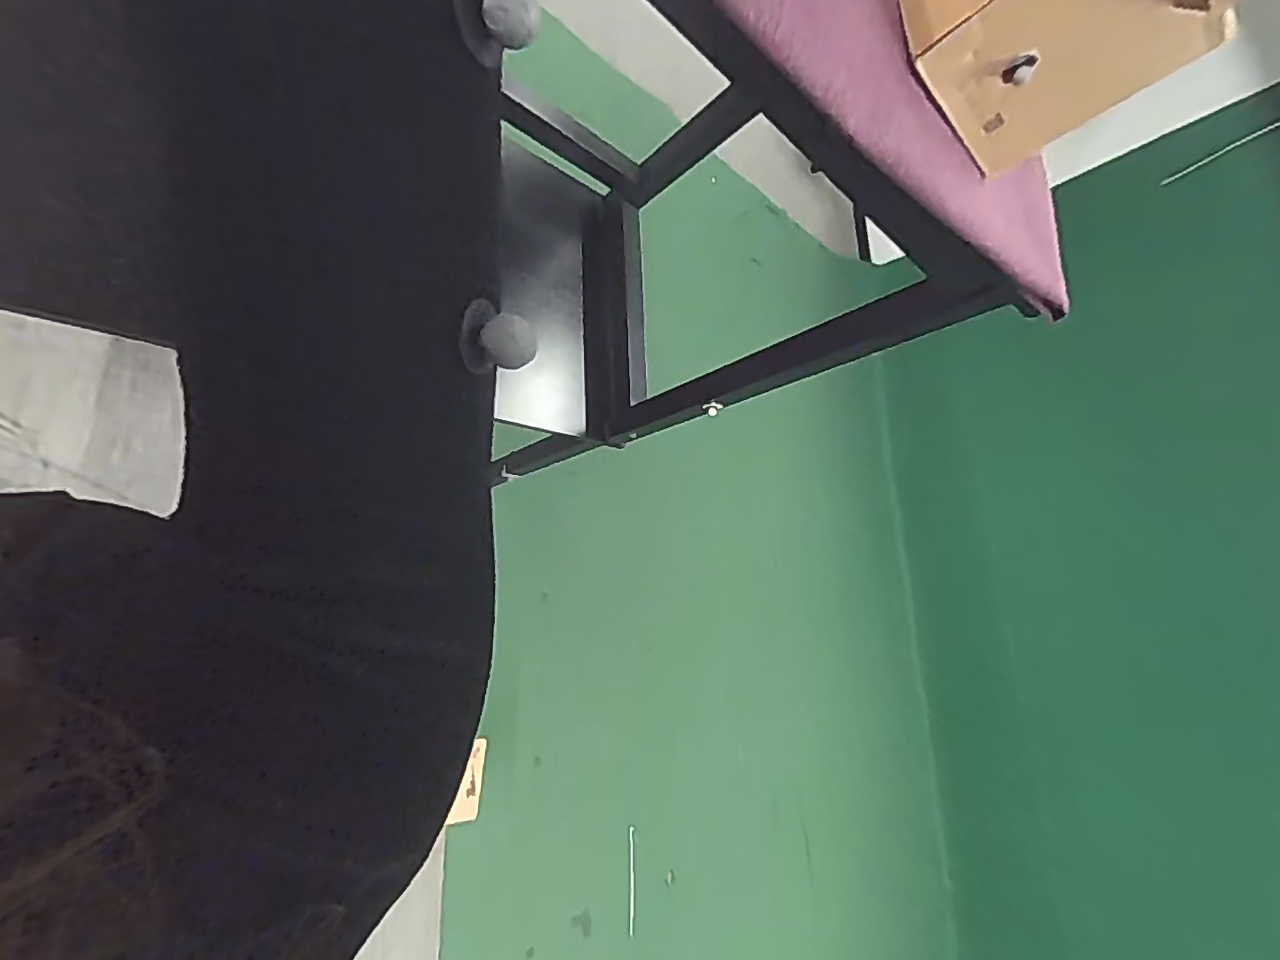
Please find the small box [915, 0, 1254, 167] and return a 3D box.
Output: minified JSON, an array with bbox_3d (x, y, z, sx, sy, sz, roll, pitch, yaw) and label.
[{"bbox_3d":[0.326,-0.400,0.420,0.168,0.176,0.179,14,69,-39],"label":"small box"}]
